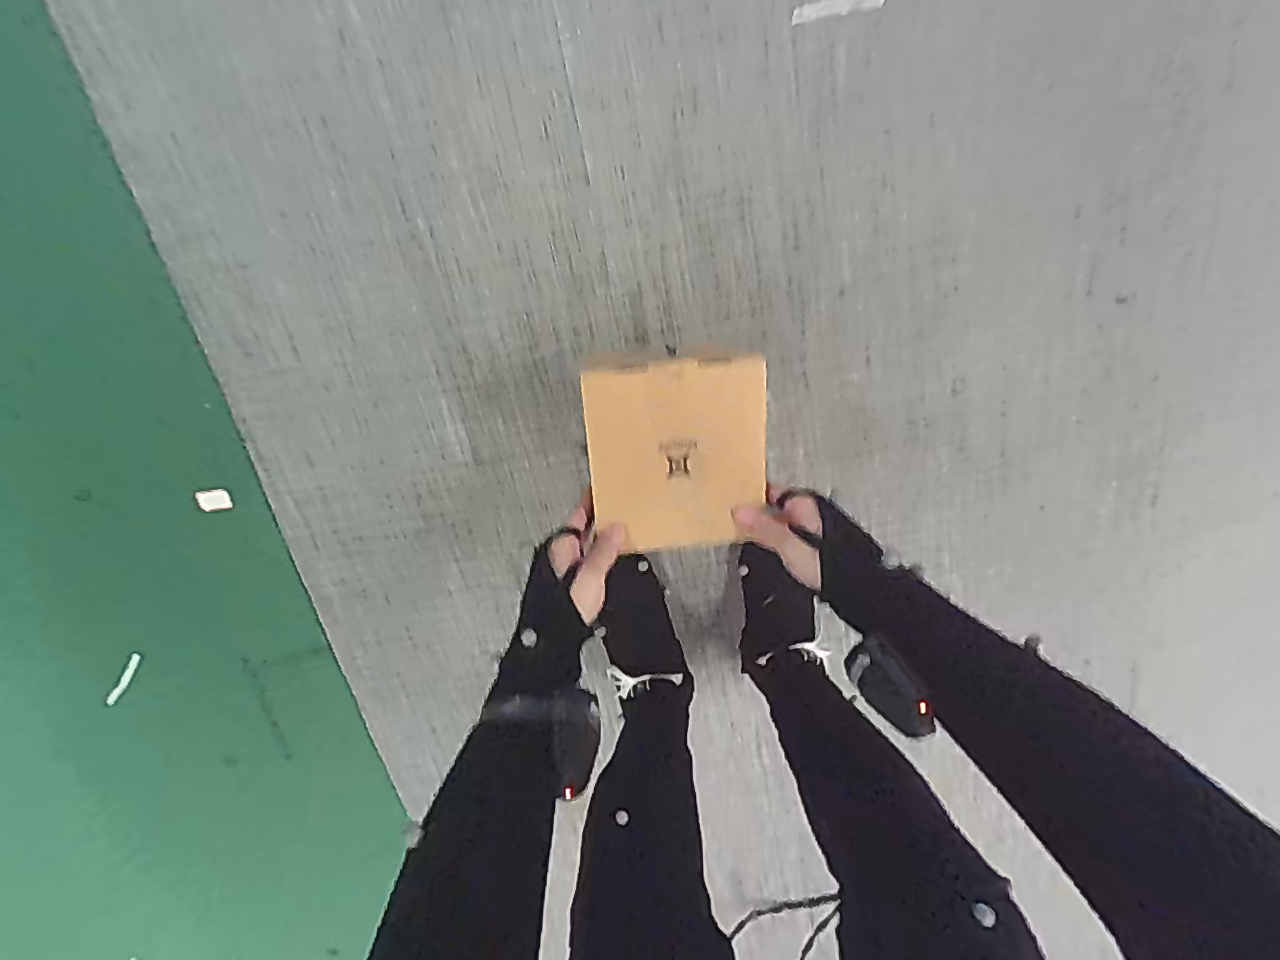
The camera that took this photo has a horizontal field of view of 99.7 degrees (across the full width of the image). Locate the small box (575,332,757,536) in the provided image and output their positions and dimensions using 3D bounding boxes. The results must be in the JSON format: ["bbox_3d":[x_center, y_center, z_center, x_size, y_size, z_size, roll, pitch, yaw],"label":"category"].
[{"bbox_3d":[0.024,-0.059,0.583,0.168,0.176,0.179,-6,109,-3],"label":"small box"}]
